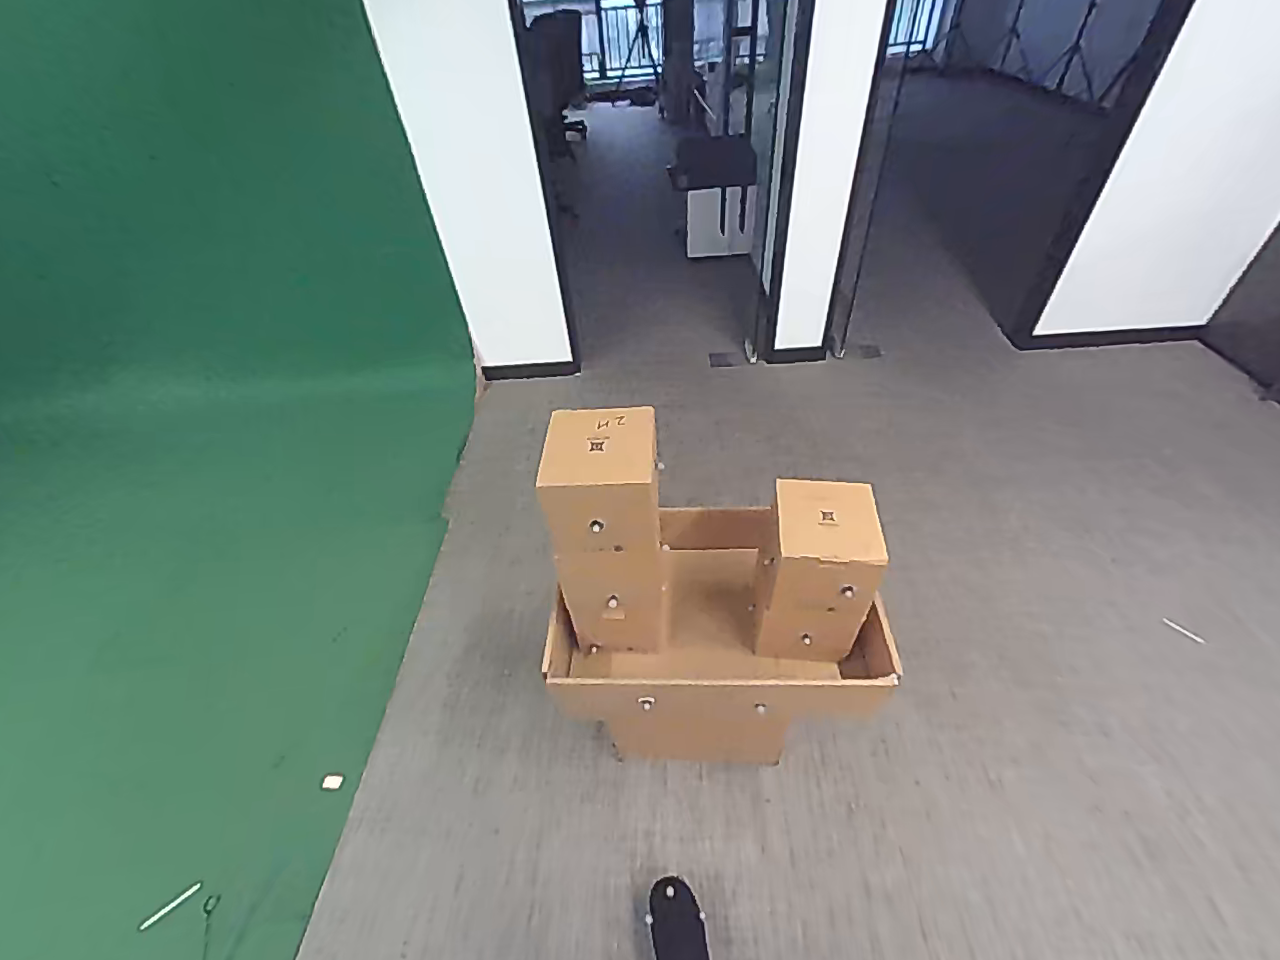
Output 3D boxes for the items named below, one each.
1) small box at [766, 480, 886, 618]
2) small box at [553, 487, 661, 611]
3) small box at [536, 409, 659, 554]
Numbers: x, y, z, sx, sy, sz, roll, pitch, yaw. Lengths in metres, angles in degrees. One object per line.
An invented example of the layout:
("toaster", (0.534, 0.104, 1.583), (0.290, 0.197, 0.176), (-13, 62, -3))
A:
("small box", (0.316, 0.122, 0.952), (0.168, 0.176, 0.179), (4, 44, 8))
("small box", (-0.049, 0.126, 0.986), (0.179, 0.176, 0.168), (-2, 44, 3))
("small box", (-0.056, 0.006, 0.872), (0.168, 0.176, 0.179), (-1, 44, 5))
